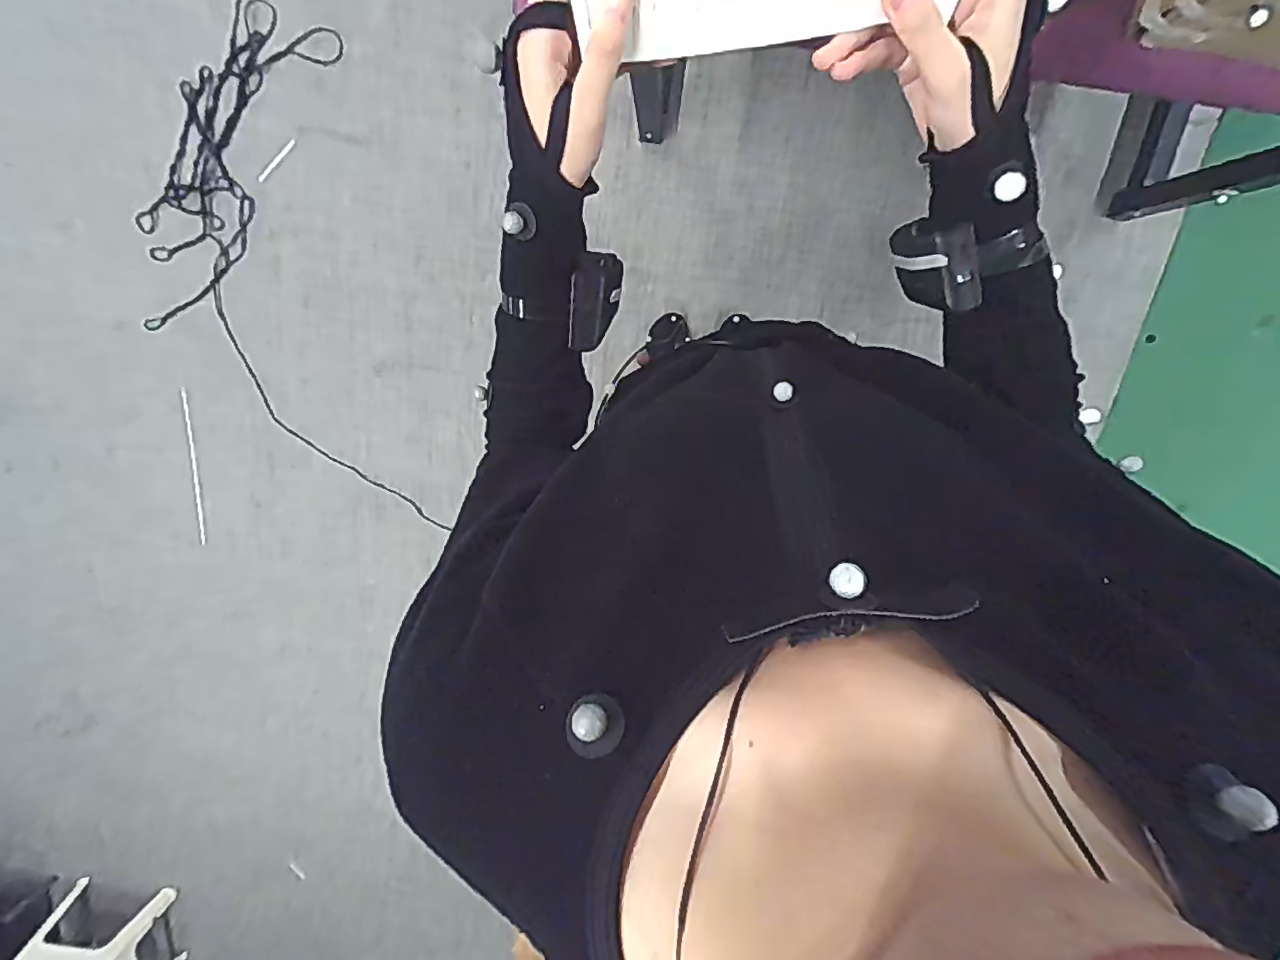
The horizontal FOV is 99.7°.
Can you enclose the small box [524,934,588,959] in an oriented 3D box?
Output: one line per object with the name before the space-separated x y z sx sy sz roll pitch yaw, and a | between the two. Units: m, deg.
small box | -0.260 1.444 1.522 0.168 0.176 0.179 26 106 -4
